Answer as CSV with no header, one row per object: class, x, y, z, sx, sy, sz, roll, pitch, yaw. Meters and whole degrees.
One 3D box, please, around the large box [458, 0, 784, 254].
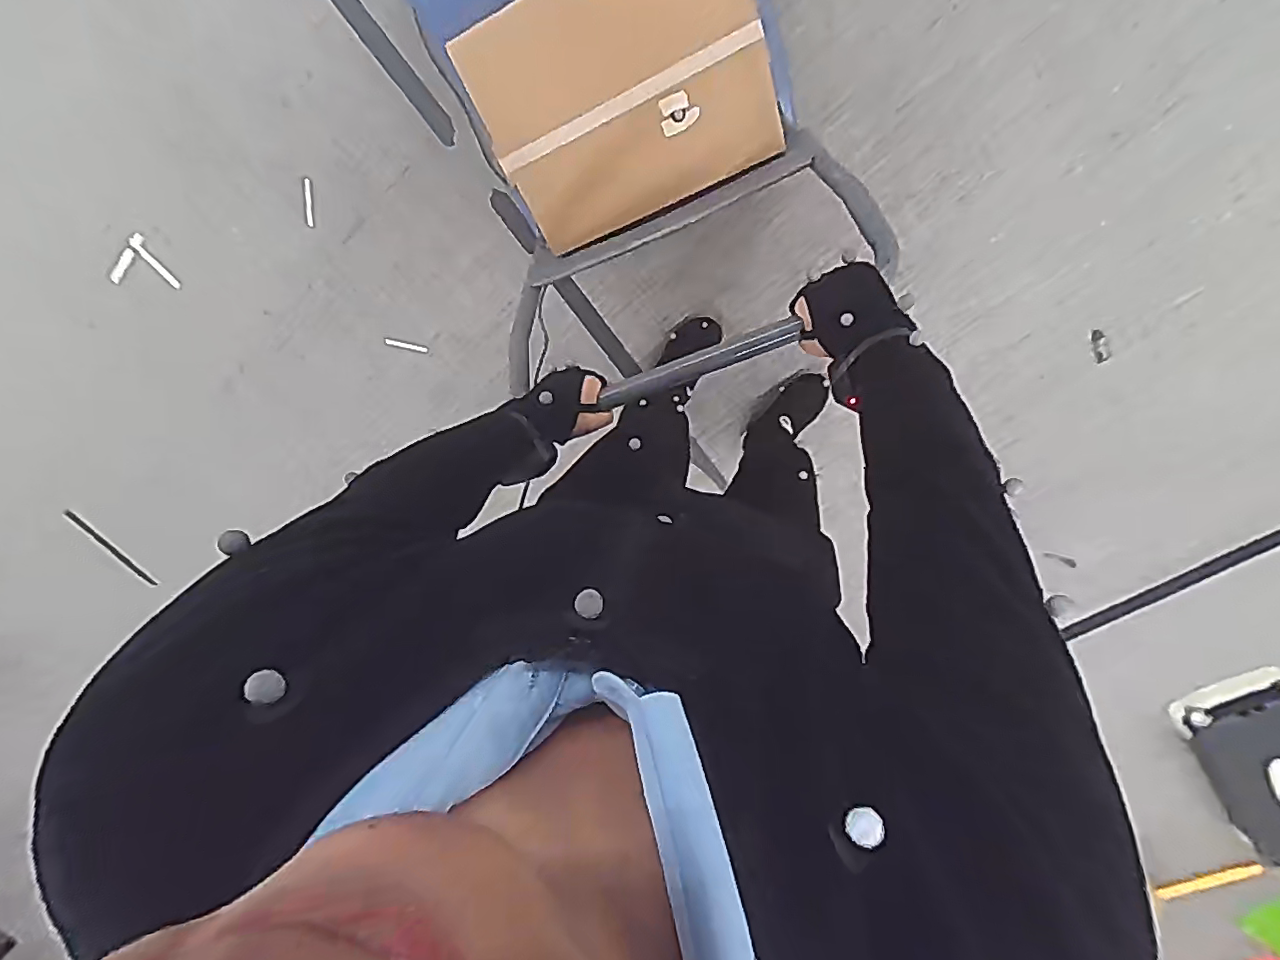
large box,-0.022,-0.653,0.912,0.408,0.320,0.320,-20,128,14
